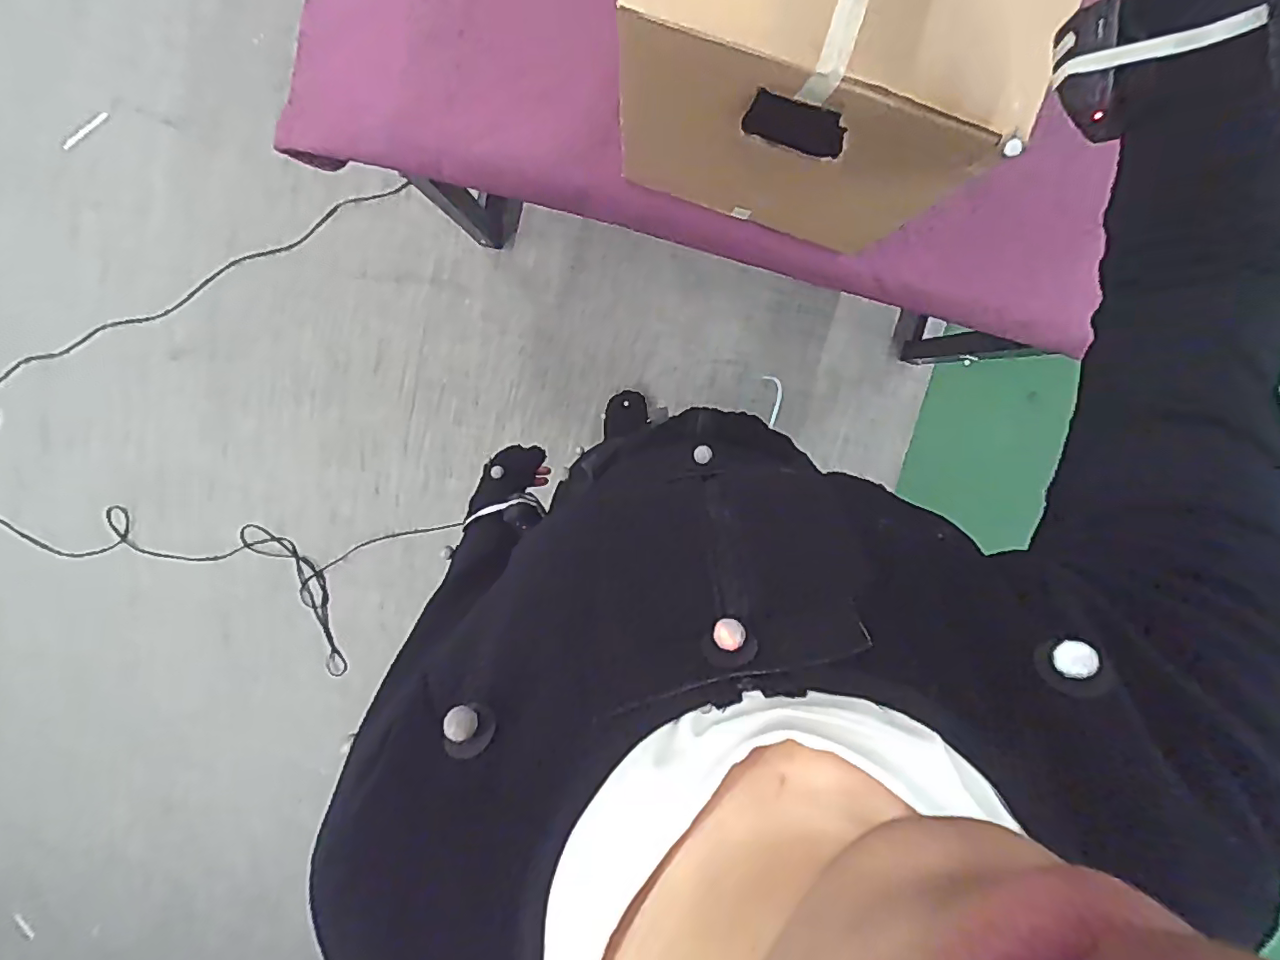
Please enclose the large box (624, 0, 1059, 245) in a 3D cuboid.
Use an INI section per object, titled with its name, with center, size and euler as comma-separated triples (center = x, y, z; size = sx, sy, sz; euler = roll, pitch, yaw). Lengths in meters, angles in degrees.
[large box]
center = 0.183, -0.507, 0.520
size = 0.320, 0.320, 0.408
euler = 16, 99, -4
